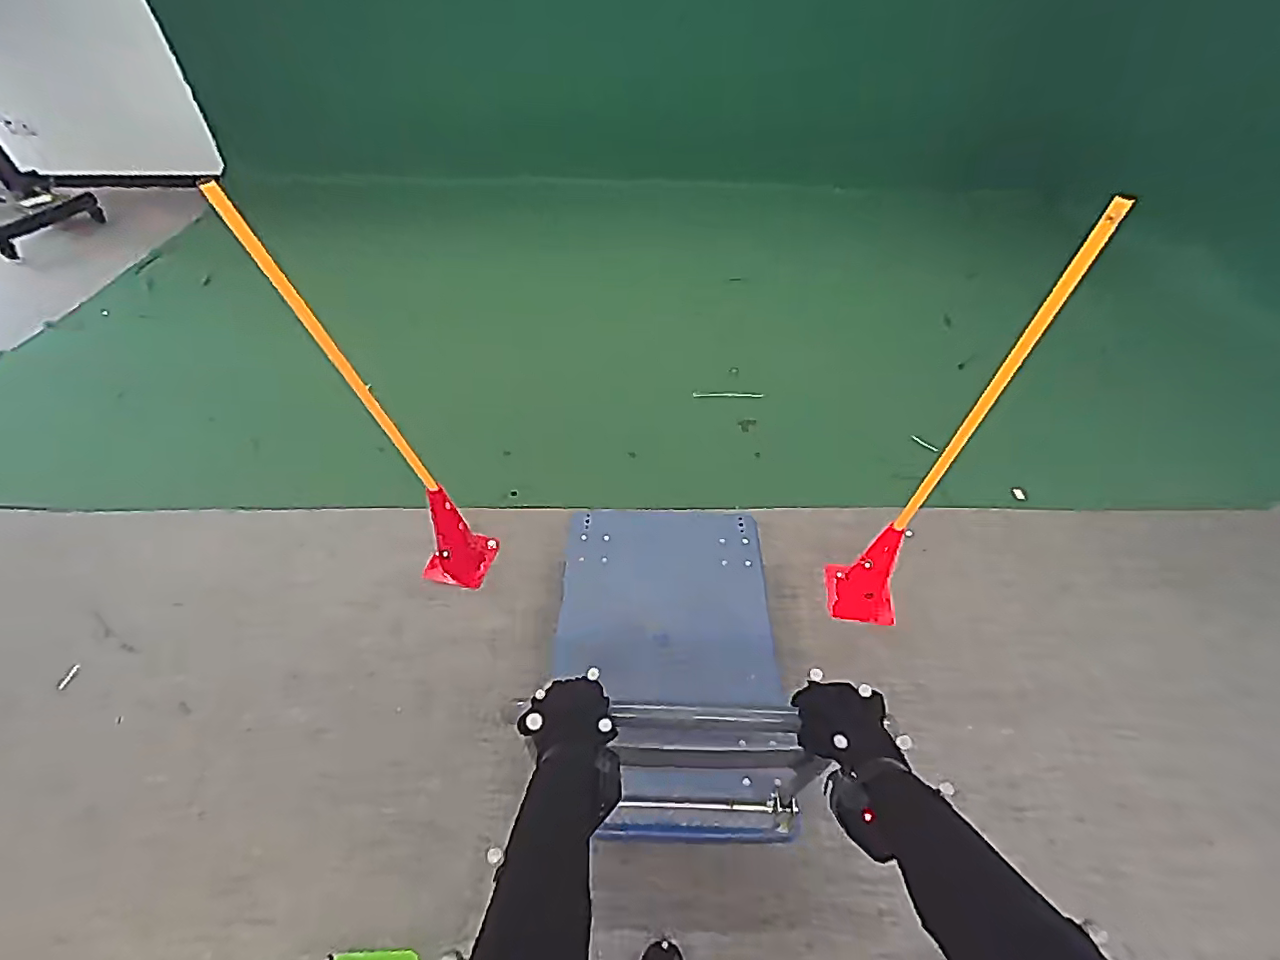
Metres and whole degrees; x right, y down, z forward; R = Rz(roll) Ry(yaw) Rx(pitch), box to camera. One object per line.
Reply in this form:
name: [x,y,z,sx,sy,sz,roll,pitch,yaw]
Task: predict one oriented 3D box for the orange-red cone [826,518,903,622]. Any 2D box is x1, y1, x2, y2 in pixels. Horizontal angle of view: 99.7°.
orange-red cone: [0.695,0.238,1.593,0.198,0.360,0.199,8,48,7]
